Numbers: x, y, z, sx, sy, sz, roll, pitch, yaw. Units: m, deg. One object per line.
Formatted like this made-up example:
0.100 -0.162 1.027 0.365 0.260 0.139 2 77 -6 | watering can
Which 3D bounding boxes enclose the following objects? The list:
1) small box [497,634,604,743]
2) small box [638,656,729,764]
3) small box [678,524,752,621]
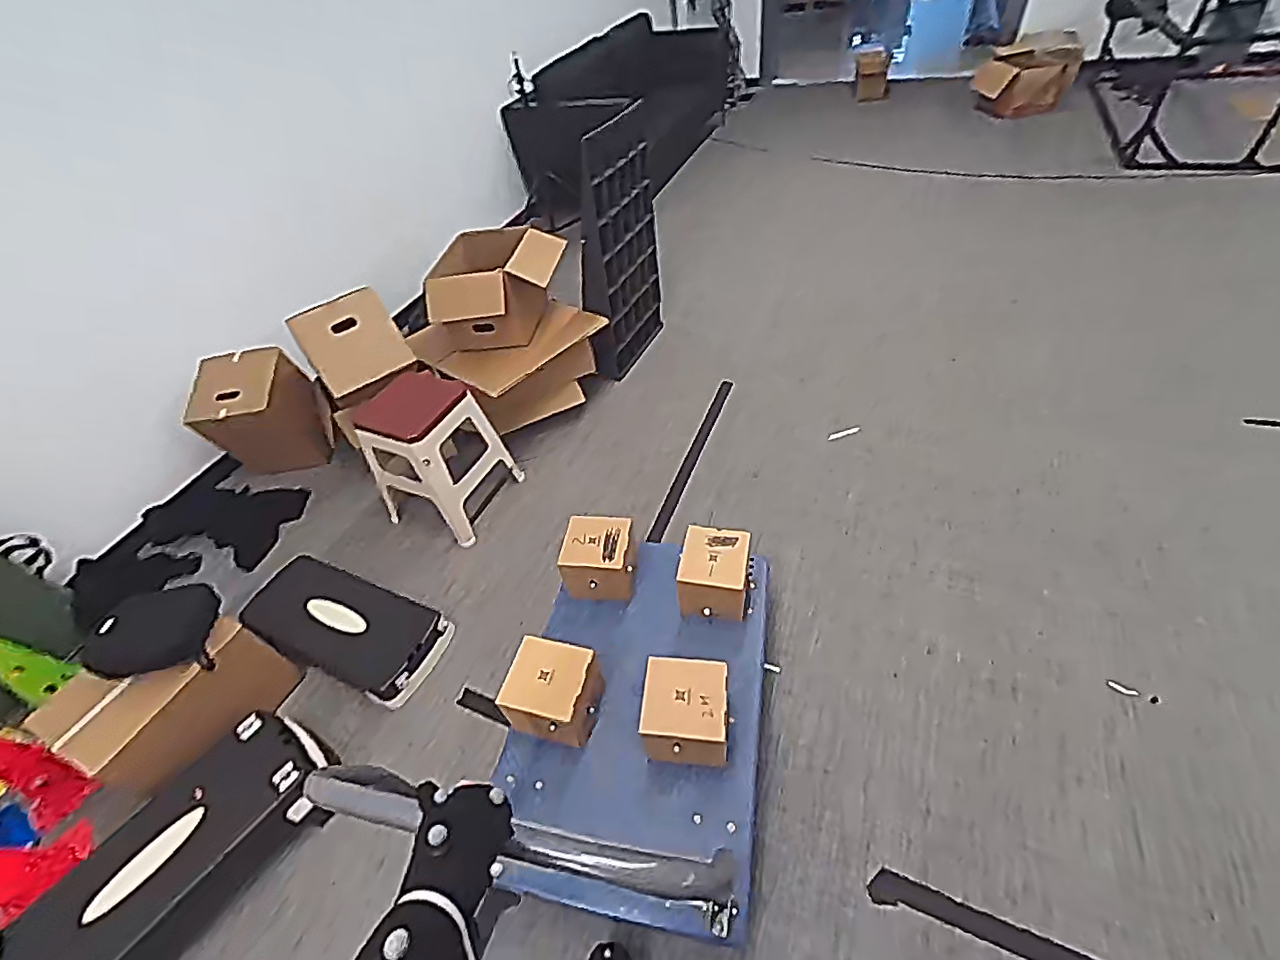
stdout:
-0.198 0.486 1.253 0.179 0.176 0.168 8 48 14 | small box
0.103 0.505 1.185 0.179 0.176 0.168 2 48 11 | small box
0.199 0.243 1.417 0.168 0.176 0.179 6 49 15 | small box
